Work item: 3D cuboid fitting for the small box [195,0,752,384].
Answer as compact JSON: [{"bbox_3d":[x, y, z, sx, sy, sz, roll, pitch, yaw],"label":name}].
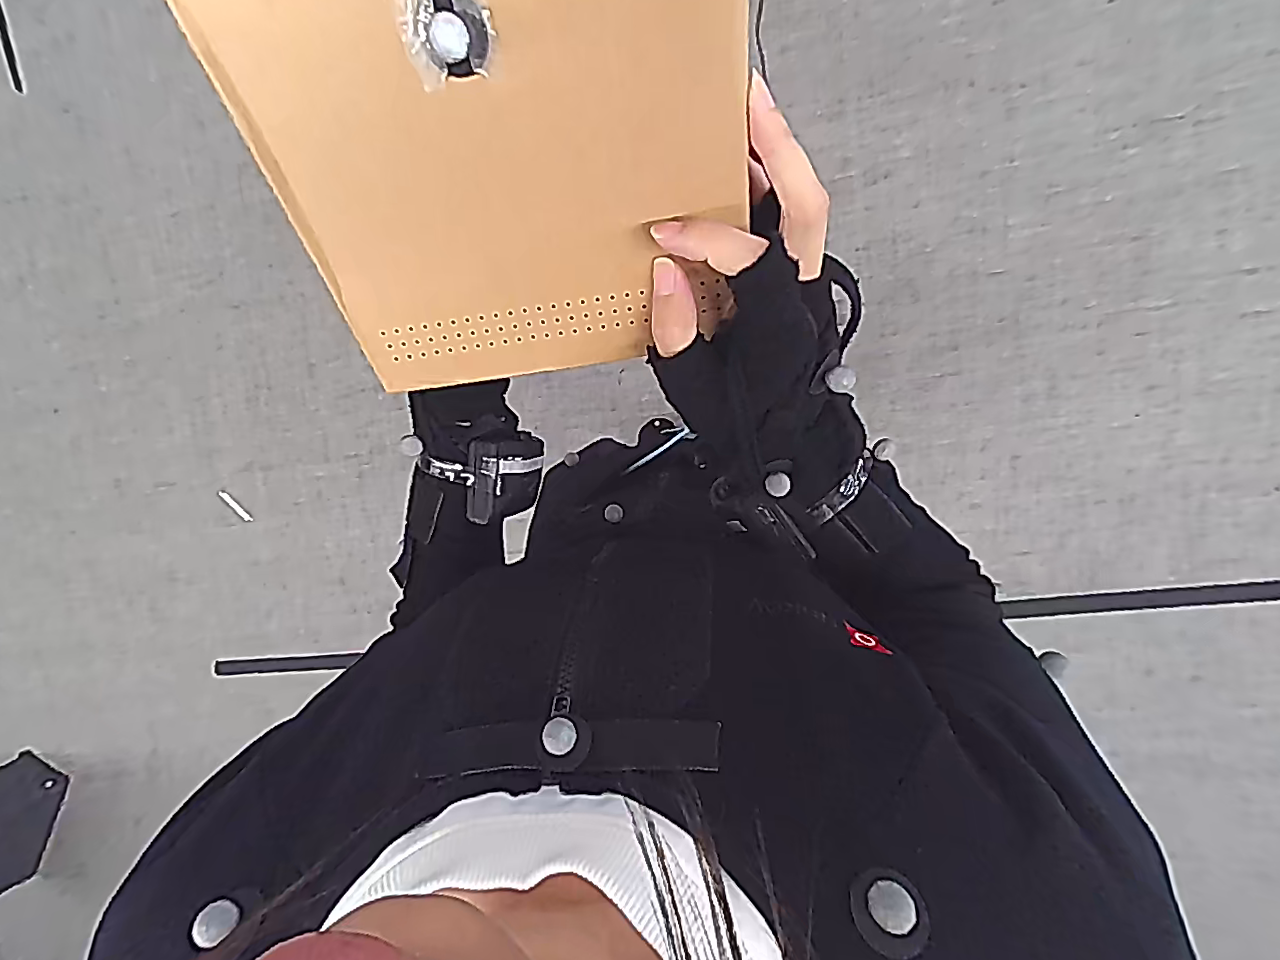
[{"bbox_3d":[-0.046,-0.162,0.260,0.179,0.168,0.176,-7,135,5],"label":"small box"}]
